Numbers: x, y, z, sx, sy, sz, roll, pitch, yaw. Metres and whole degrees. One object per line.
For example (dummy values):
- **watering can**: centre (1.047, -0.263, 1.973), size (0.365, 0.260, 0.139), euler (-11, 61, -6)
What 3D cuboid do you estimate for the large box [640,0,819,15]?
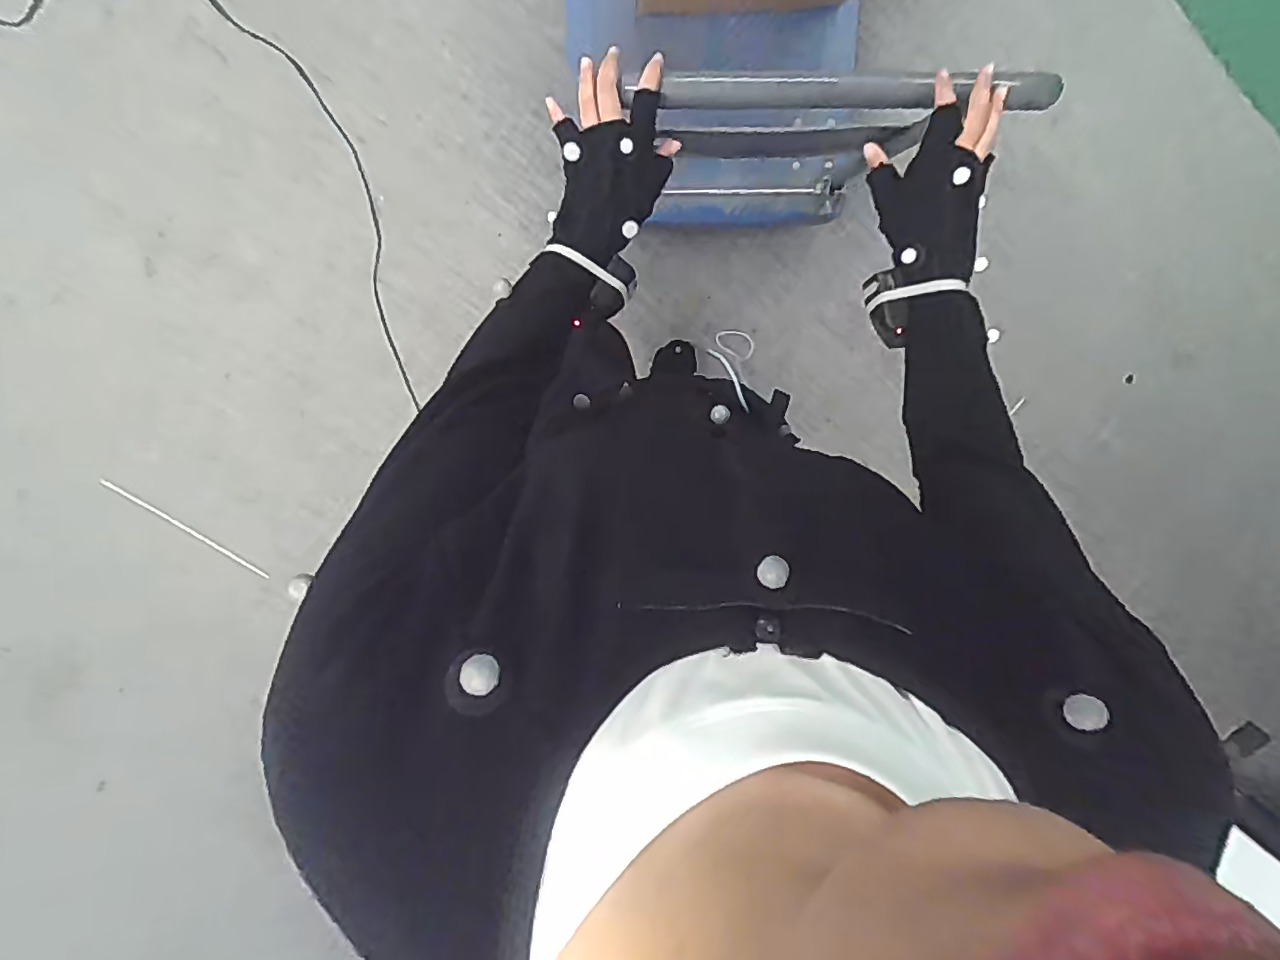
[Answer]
- **large box**: centre (0.191, -1.034, 0.881), size (0.408, 0.320, 0.320), euler (-4, 105, 0)
